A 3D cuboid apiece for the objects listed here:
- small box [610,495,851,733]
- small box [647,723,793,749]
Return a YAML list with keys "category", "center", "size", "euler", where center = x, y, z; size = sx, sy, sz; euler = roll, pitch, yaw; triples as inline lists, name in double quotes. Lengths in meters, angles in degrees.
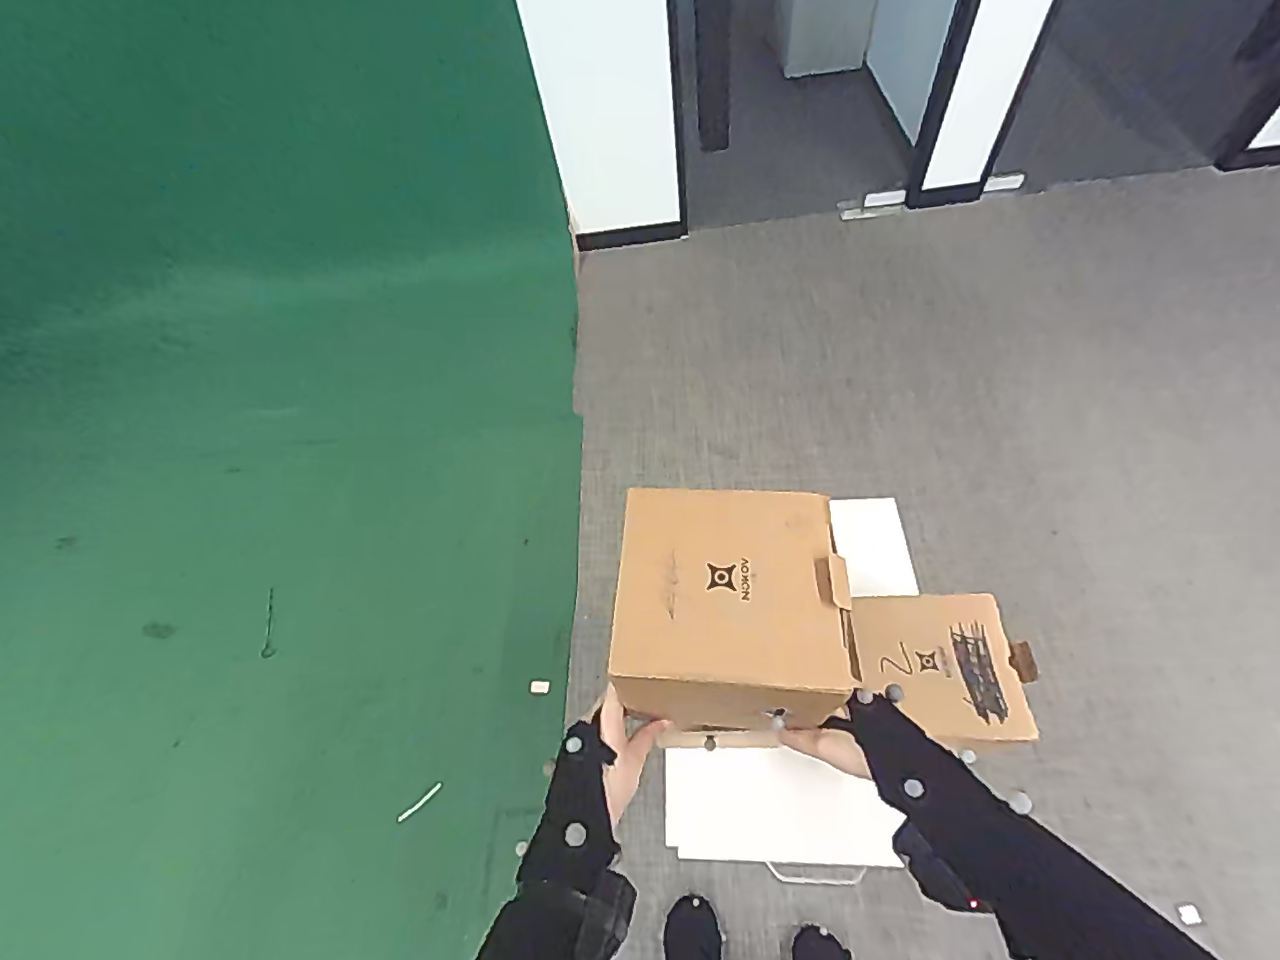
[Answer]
- category: "small box"
  center: [0.077, 0.129, 0.500]
  size: [0.179, 0.176, 0.168]
  euler: [1, 55, 7]
- category: "small box"
  center: [0.104, 0.264, 0.730]
  size: [0.179, 0.176, 0.168]
  euler: [-3, 58, 5]
